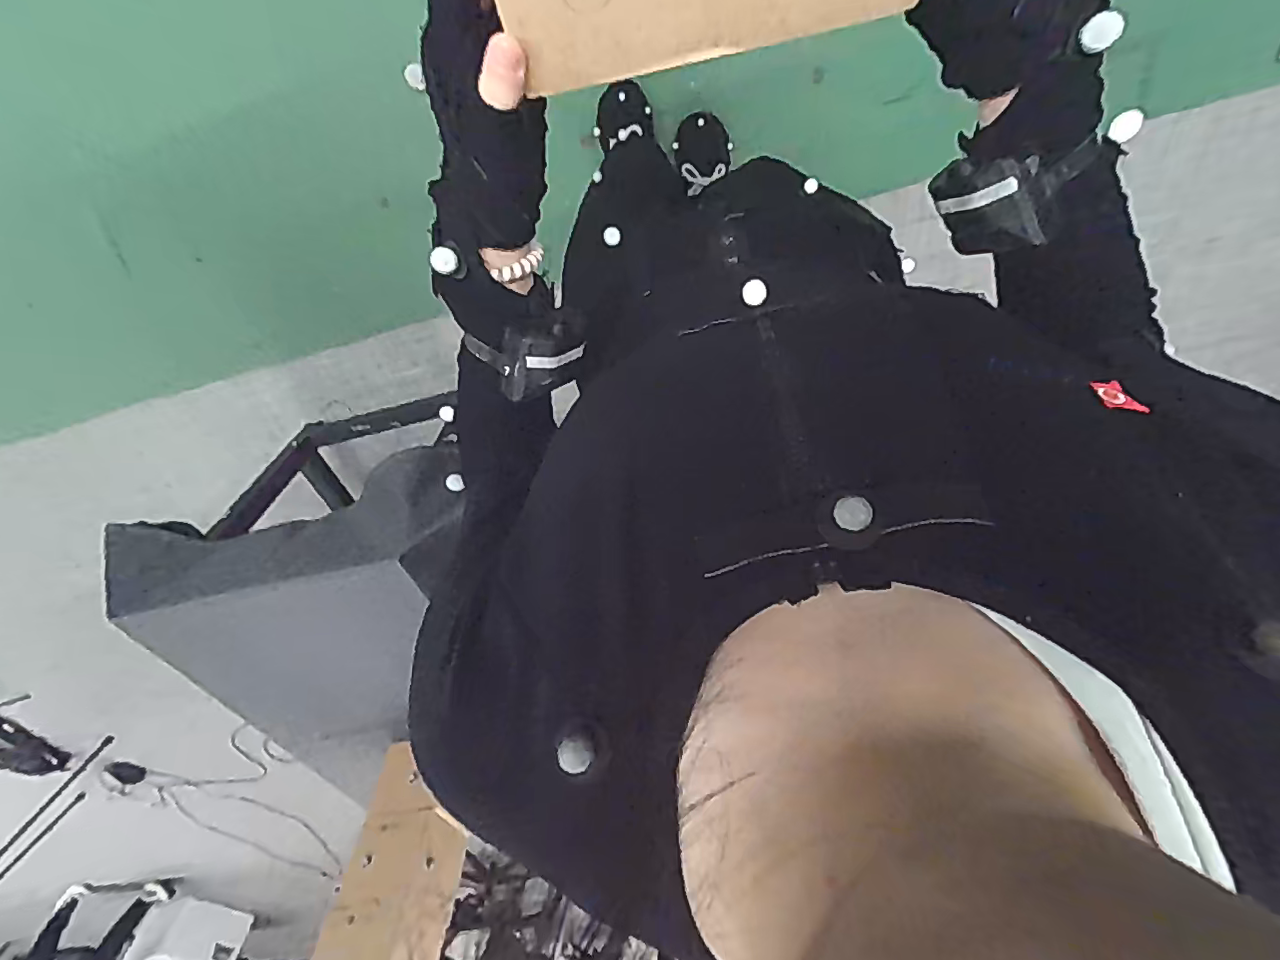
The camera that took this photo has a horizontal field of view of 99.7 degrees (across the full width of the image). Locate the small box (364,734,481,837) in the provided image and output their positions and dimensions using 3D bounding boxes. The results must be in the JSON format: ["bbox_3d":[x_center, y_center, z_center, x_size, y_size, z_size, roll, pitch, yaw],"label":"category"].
[{"bbox_3d":[-0.498,0.722,1.268,0.179,0.176,0.168,-12,126,7],"label":"small box"}]

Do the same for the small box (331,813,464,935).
[{"bbox_3d":[-0.498,0.824,1.141,0.168,0.176,0.179,-13,126,10],"label":"small box"}]
